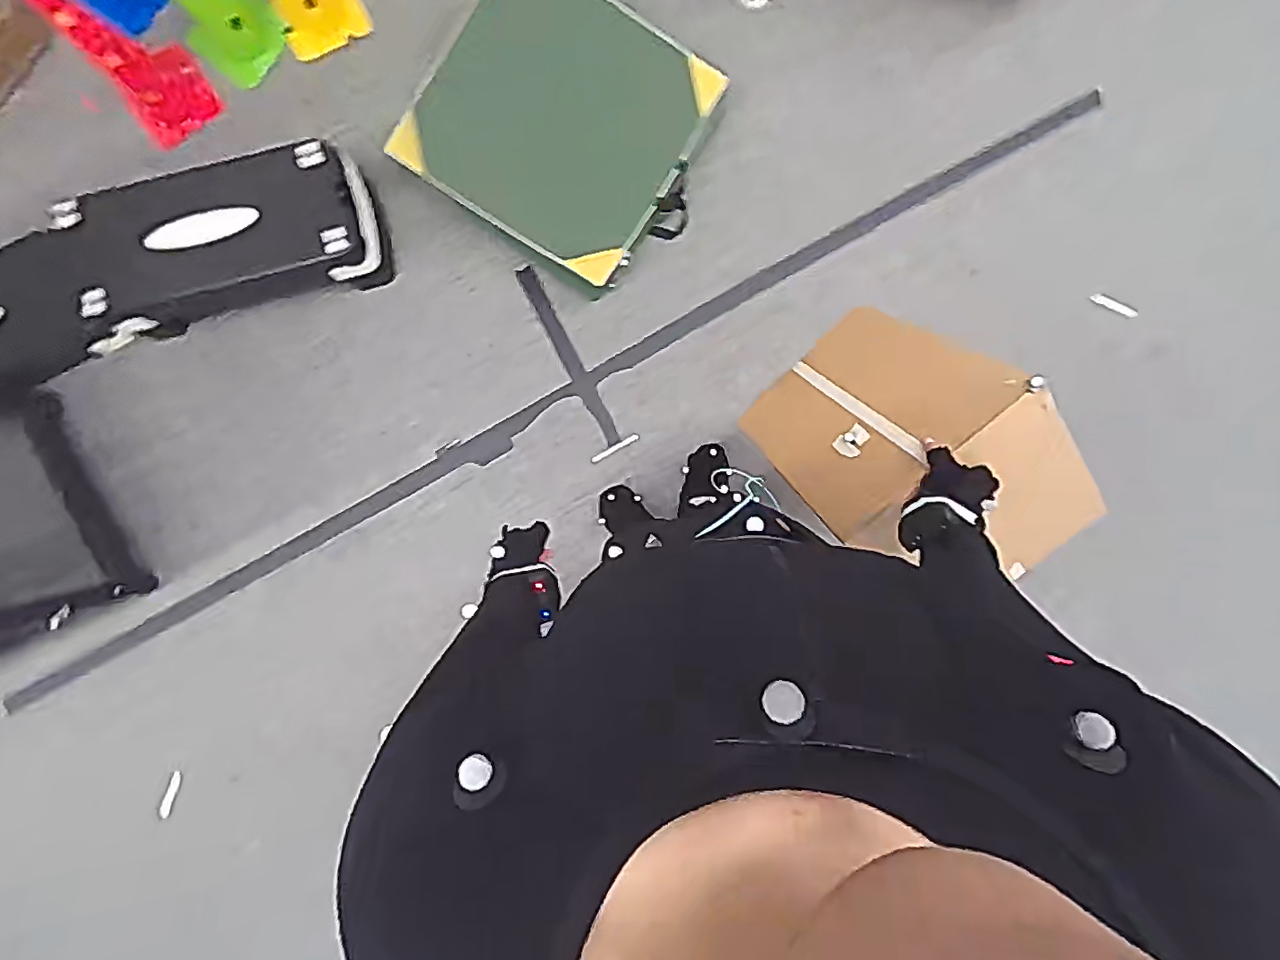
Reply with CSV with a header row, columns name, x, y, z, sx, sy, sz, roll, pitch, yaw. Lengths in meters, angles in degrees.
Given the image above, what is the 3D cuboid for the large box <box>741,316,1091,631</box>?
name,x,y,z,sx,sy,sz,roll,pitch,yaw
large box,0.446,-0.026,0.947,0.320,0.408,0.320,-44,121,14
